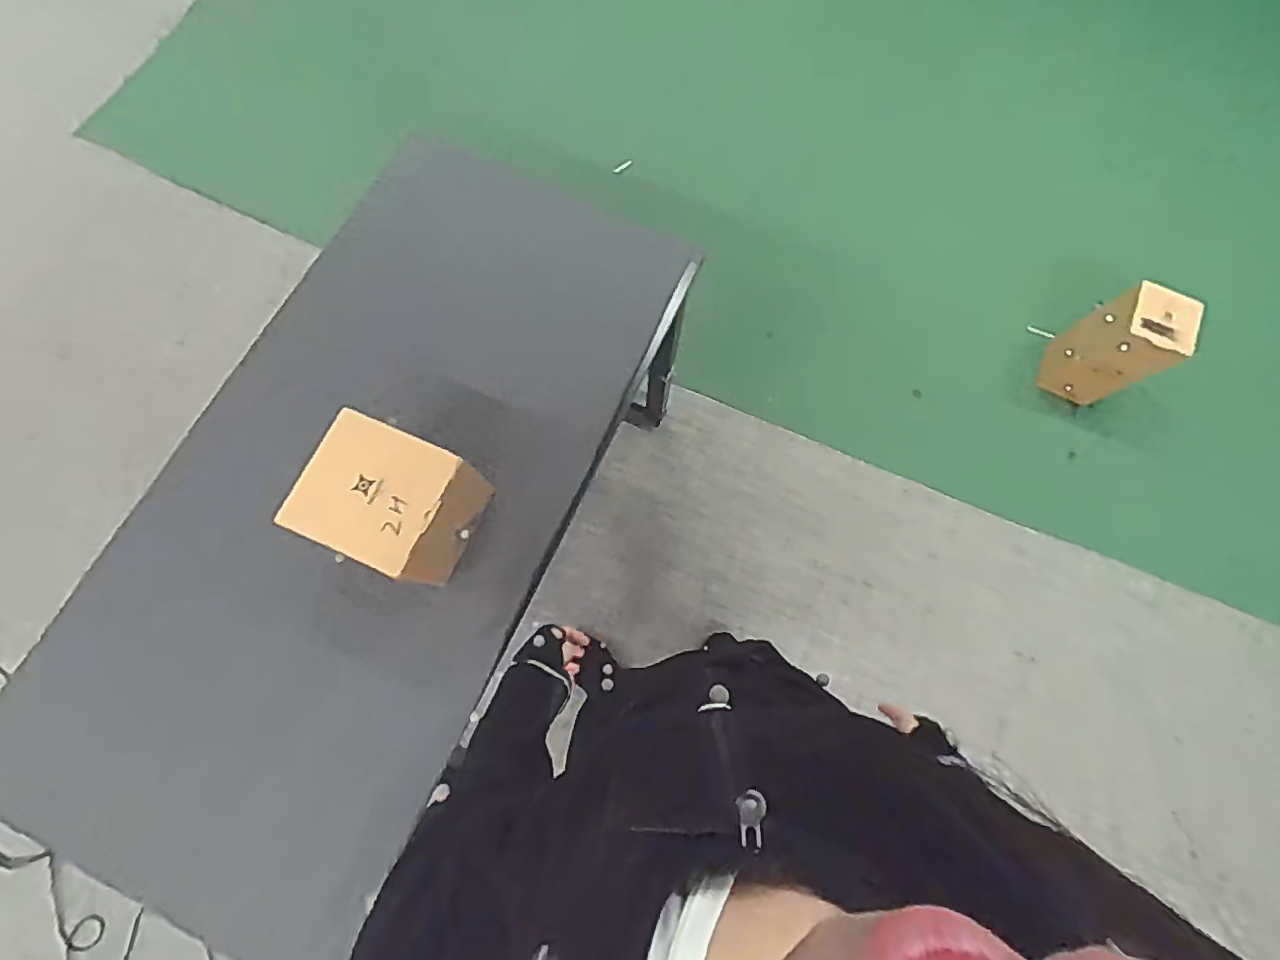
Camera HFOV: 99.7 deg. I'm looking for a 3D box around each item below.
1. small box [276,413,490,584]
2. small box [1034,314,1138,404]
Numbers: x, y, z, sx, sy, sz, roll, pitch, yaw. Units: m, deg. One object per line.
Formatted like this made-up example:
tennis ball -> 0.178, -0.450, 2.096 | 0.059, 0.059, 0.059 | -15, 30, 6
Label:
small box -> -0.337, 0.037, 0.748 | 0.179, 0.176, 0.168 | 23, 76, 5
small box -> 1.356, -0.364, 1.655 | 0.168, 0.176, 0.179 | 25, 76, 5
